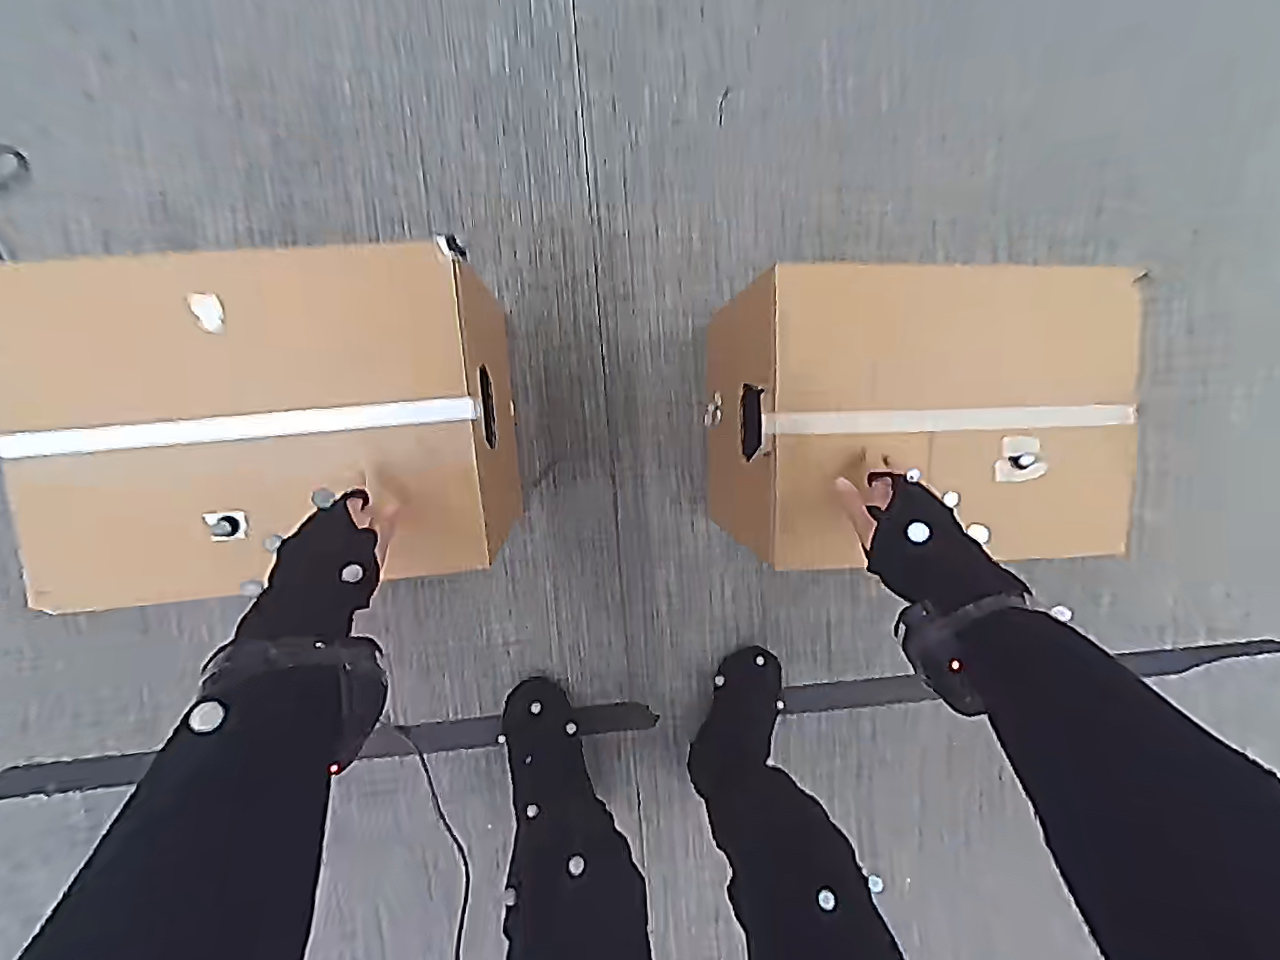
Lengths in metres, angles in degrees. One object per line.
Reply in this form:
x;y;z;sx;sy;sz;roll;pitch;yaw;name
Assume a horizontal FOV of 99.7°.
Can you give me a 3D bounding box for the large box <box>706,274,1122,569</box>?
0.320;-0.075;0.735;0.408;0.320;0.320;-1;95;-6;large box
